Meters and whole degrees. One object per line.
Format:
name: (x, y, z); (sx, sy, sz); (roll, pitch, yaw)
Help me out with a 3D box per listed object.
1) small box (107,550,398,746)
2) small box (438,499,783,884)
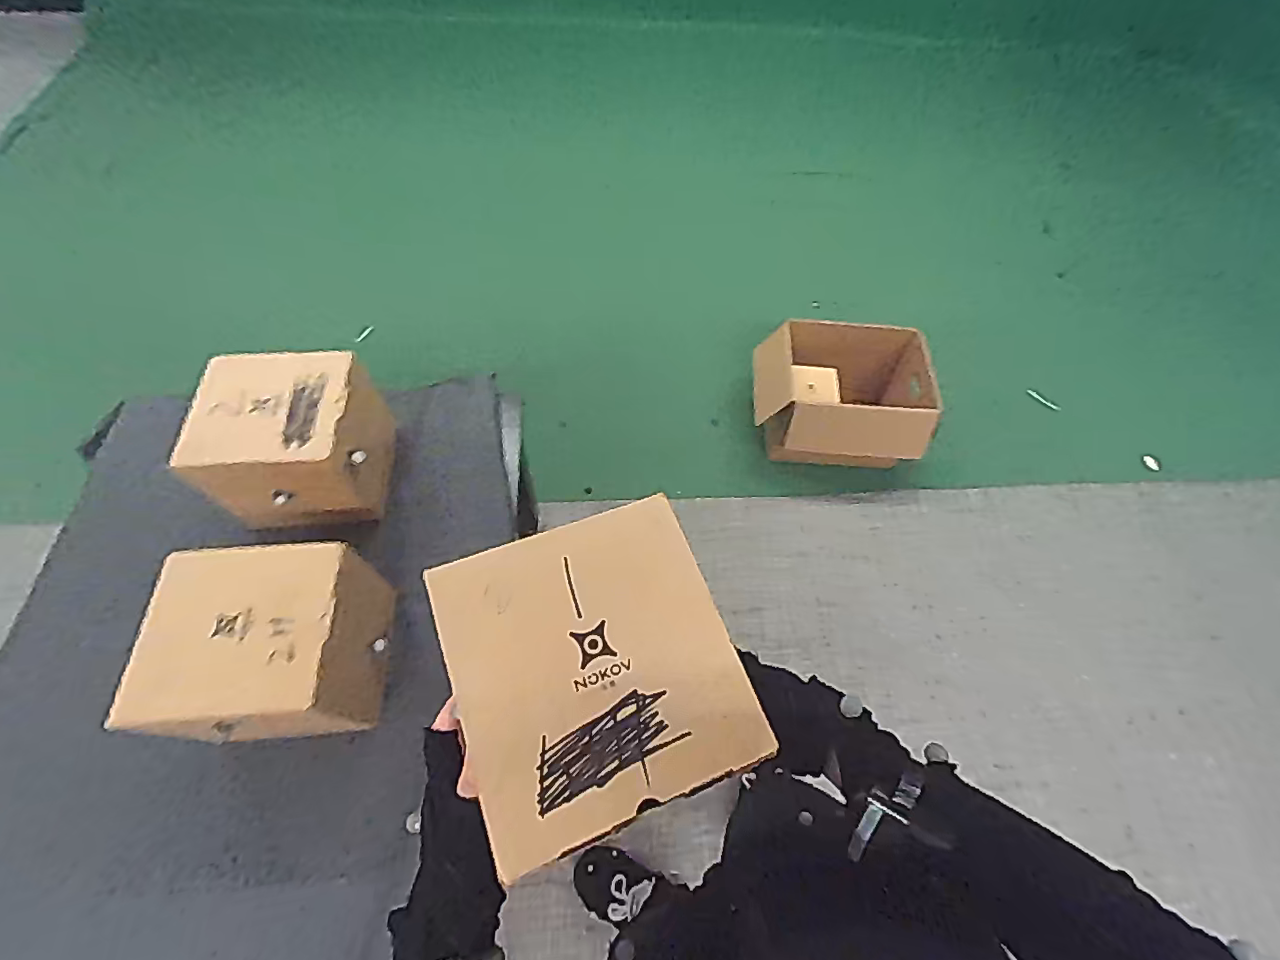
small box: (-0.391, 0.188, 0.588); (0.179, 0.176, 0.168); (-3, 61, -4)
small box: (-0.028, 0.142, 0.394); (0.168, 0.176, 0.179); (-17, 68, -15)
